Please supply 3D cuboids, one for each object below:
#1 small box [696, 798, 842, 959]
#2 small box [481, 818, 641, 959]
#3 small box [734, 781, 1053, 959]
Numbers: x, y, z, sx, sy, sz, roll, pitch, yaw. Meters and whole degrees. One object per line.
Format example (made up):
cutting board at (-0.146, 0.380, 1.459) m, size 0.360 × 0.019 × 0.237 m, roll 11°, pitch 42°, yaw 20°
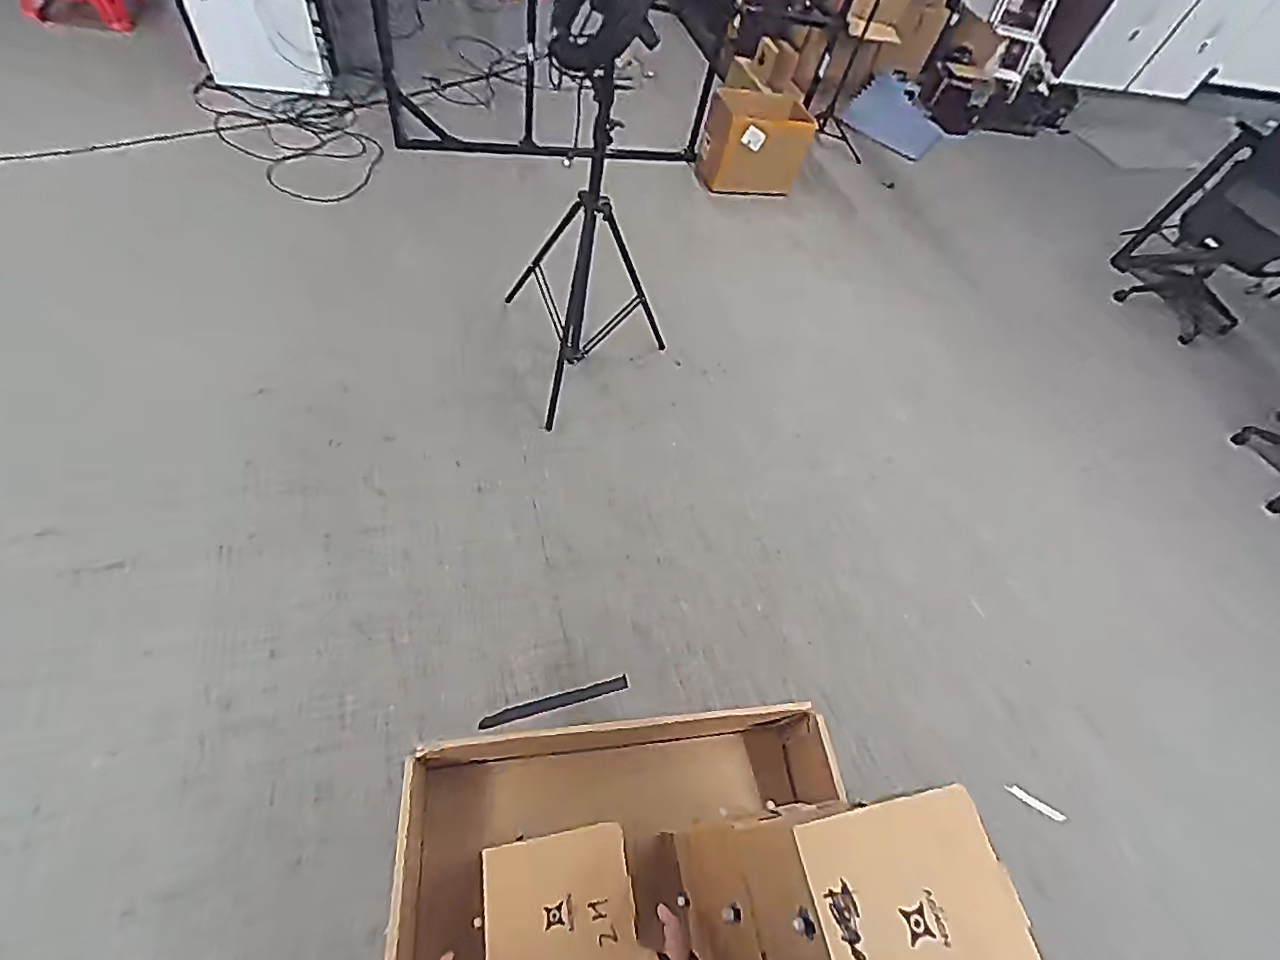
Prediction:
small box at (0.175, 0.470, 0.606) m, size 0.168 × 0.176 × 0.179 m, roll -2°, pitch 57°, yaw -14°
small box at (-0.107, 0.546, 0.689) m, size 0.179 × 0.176 × 0.168 m, roll -2°, pitch 58°, yaw -15°
small box at (0.207, 0.377, 0.475) m, size 0.179 × 0.176 × 0.168 m, roll -3°, pitch 57°, yaw -16°
